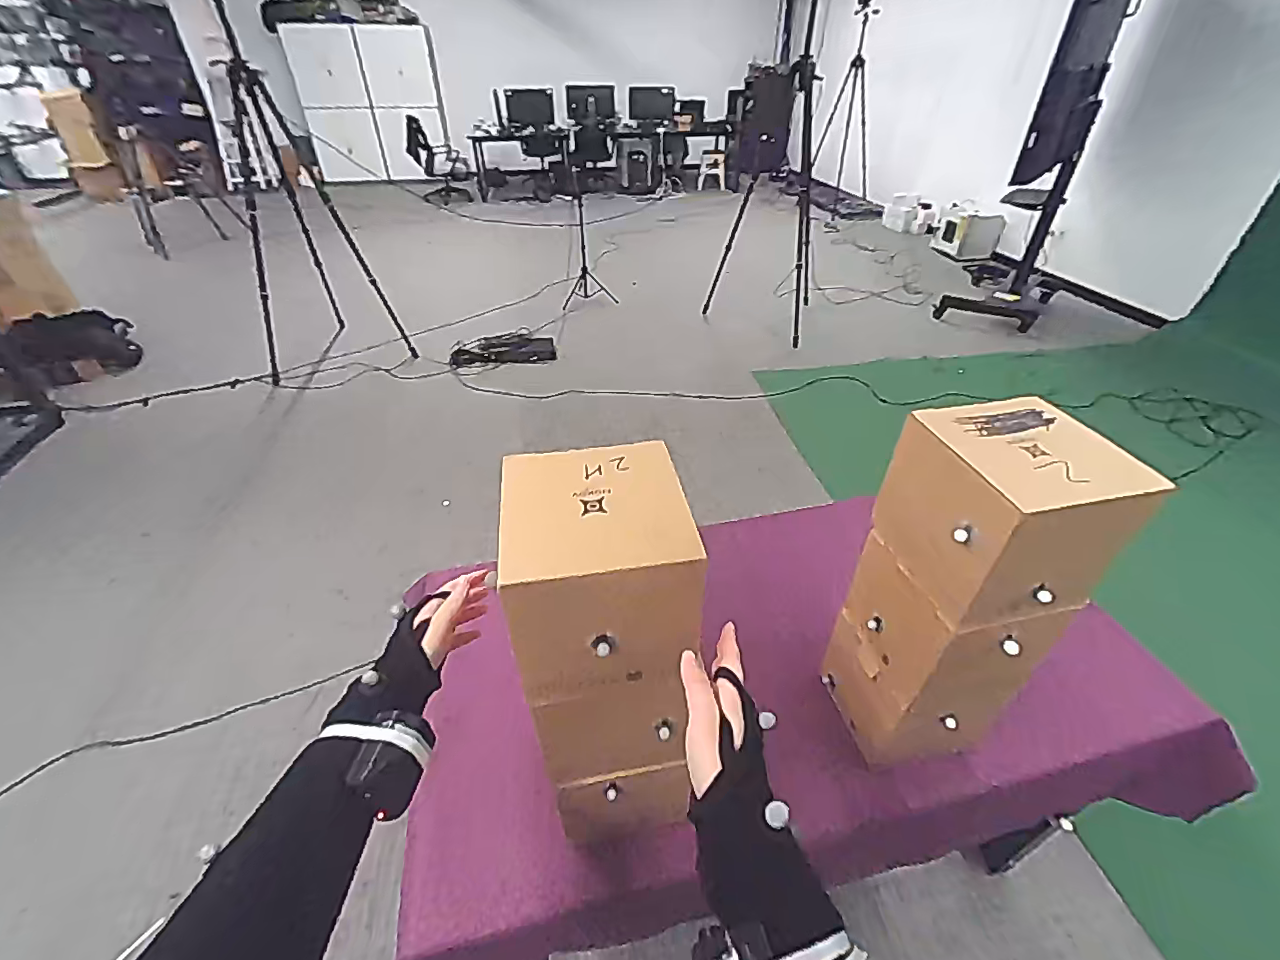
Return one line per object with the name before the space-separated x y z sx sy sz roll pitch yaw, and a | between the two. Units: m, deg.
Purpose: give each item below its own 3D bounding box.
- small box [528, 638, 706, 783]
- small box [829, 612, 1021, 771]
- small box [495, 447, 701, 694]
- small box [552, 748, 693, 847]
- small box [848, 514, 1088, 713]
small box | -0.033 0.223 0.629 0.179 0.176 0.168 -6 37 -7
small box | 0.396 0.299 0.794 0.179 0.176 0.168 -7 38 -9
small box | -0.041 0.090 0.532 0.168 0.176 0.179 -5 37 -7
small box | -0.032 0.353 0.729 0.168 0.176 0.179 -7 38 -8
small box | 0.399 0.170 0.695 0.179 0.176 0.168 -8 39 -9
